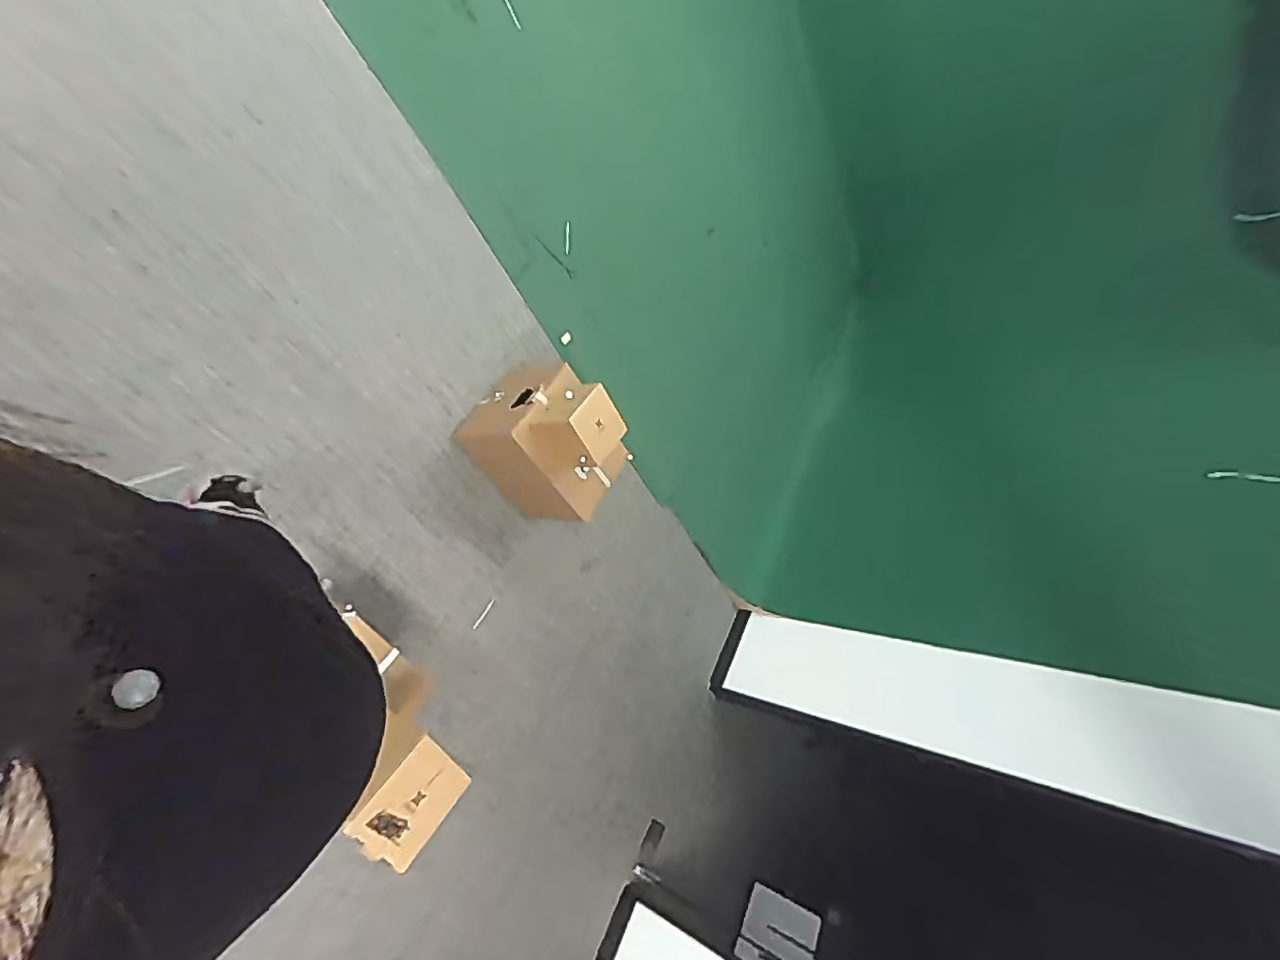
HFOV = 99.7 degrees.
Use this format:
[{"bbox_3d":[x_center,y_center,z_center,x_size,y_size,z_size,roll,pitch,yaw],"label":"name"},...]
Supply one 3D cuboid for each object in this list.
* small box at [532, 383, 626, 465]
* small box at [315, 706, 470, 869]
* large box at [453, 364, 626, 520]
[{"bbox_3d":[-0.178,-0.158,1.561,0.168,0.176,0.179,-56,131,-32],"label":"small box"},{"bbox_3d":[-0.460,0.555,0.996,0.179,0.176,0.168,-50,129,-37],"label":"small box"},{"bbox_3d":[-0.320,-0.116,1.776,0.408,0.320,0.320,56,51,-36],"label":"large box"}]
